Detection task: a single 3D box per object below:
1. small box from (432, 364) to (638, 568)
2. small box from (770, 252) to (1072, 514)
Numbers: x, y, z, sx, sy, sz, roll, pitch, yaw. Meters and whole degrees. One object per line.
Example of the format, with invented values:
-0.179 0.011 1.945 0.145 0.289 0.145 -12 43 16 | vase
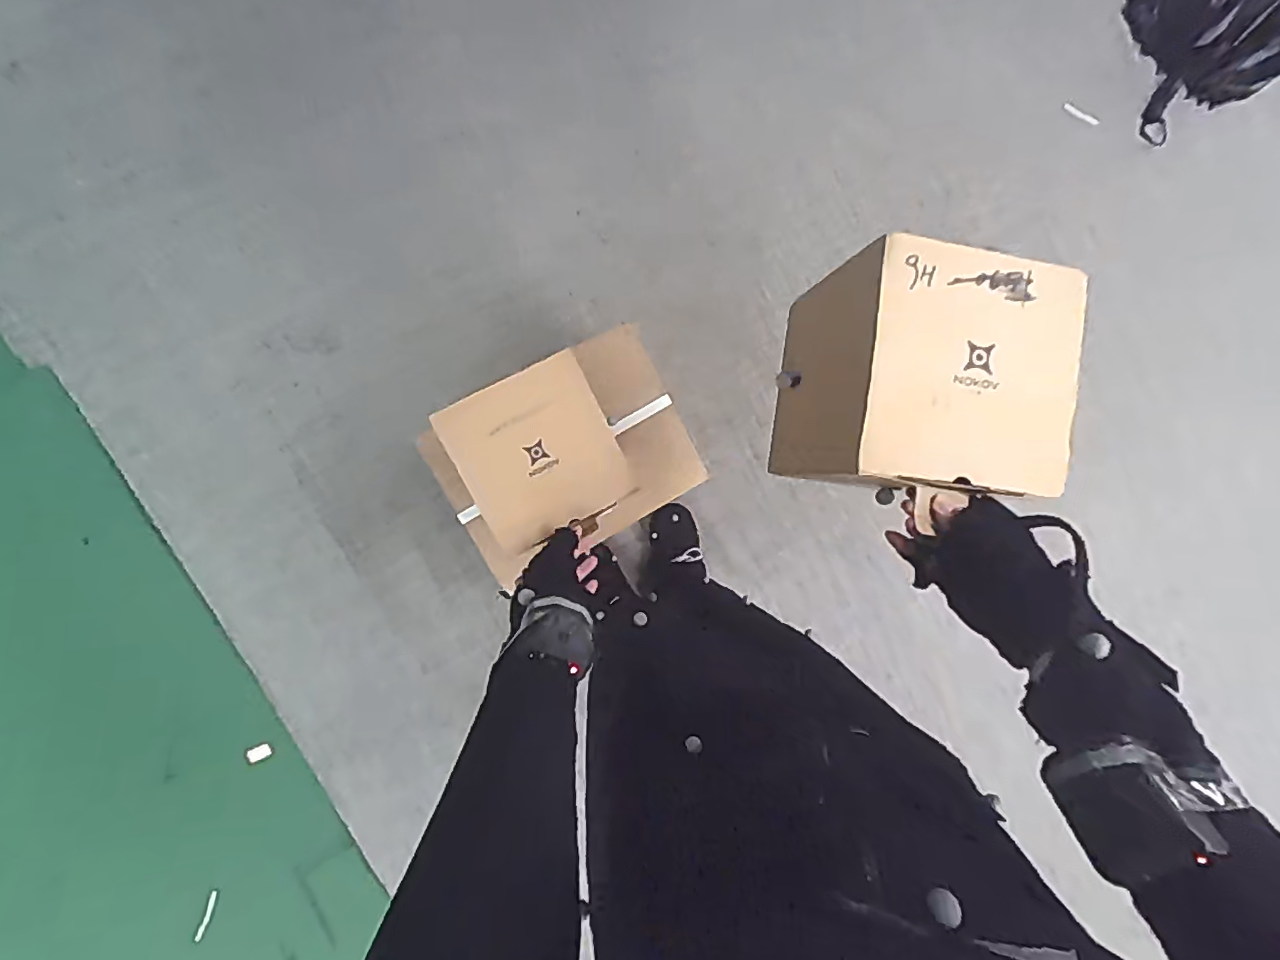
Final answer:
-0.121 -0.023 0.663 0.168 0.176 0.179 -29 99 -5 | small box
0.228 -0.071 0.481 0.168 0.176 0.179 7 89 -8 | small box
